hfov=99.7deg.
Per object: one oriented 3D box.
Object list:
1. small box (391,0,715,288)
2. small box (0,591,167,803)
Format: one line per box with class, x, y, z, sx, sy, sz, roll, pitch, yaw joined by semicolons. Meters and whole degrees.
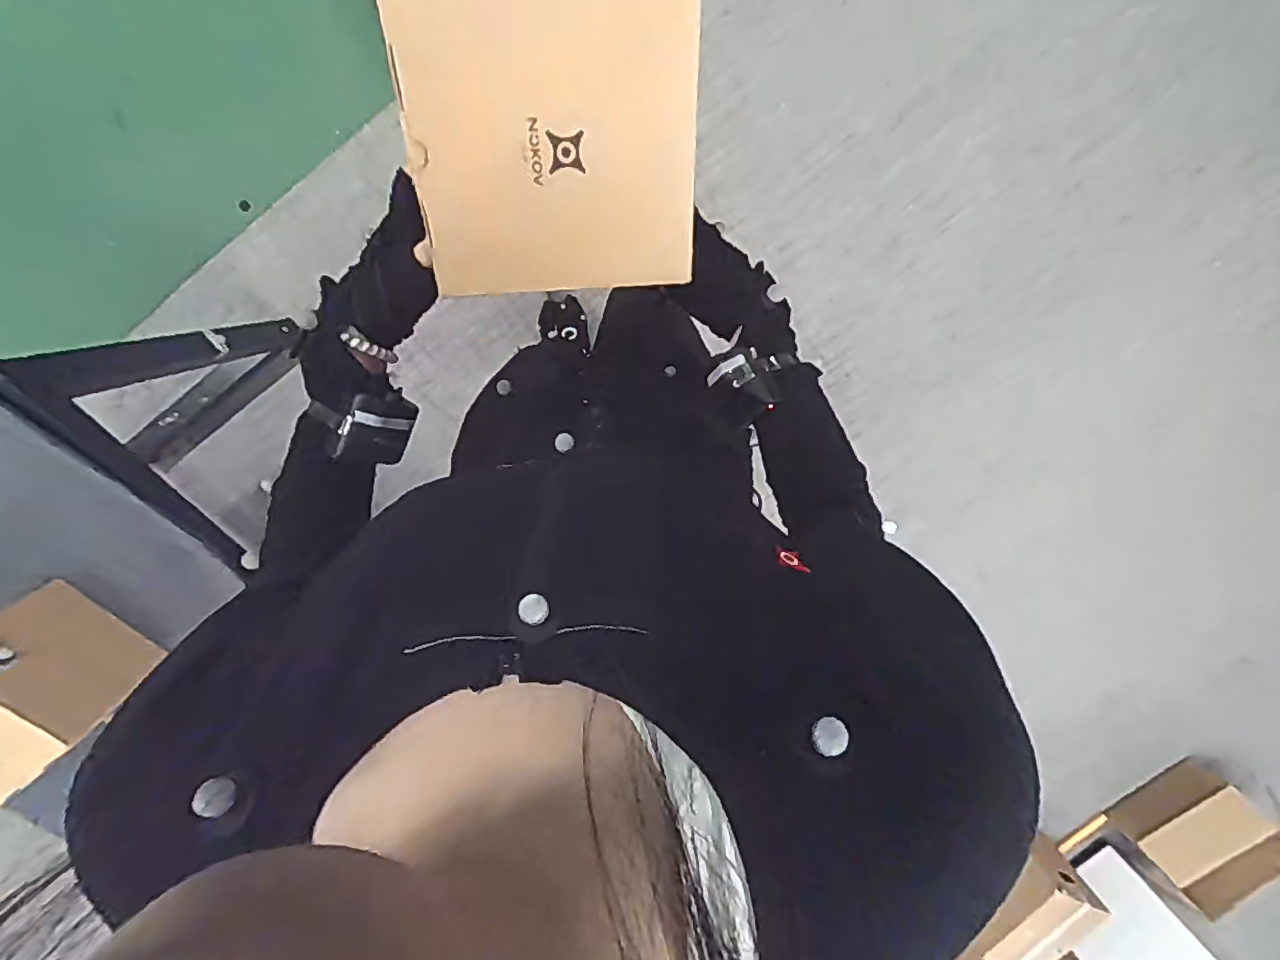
small box;-0.058;-0.247;0.391;0.179;0.176;0.168;-6;124;-8
small box;-0.790;0.268;0.695;0.168;0.176;0.179;-37;110;9
